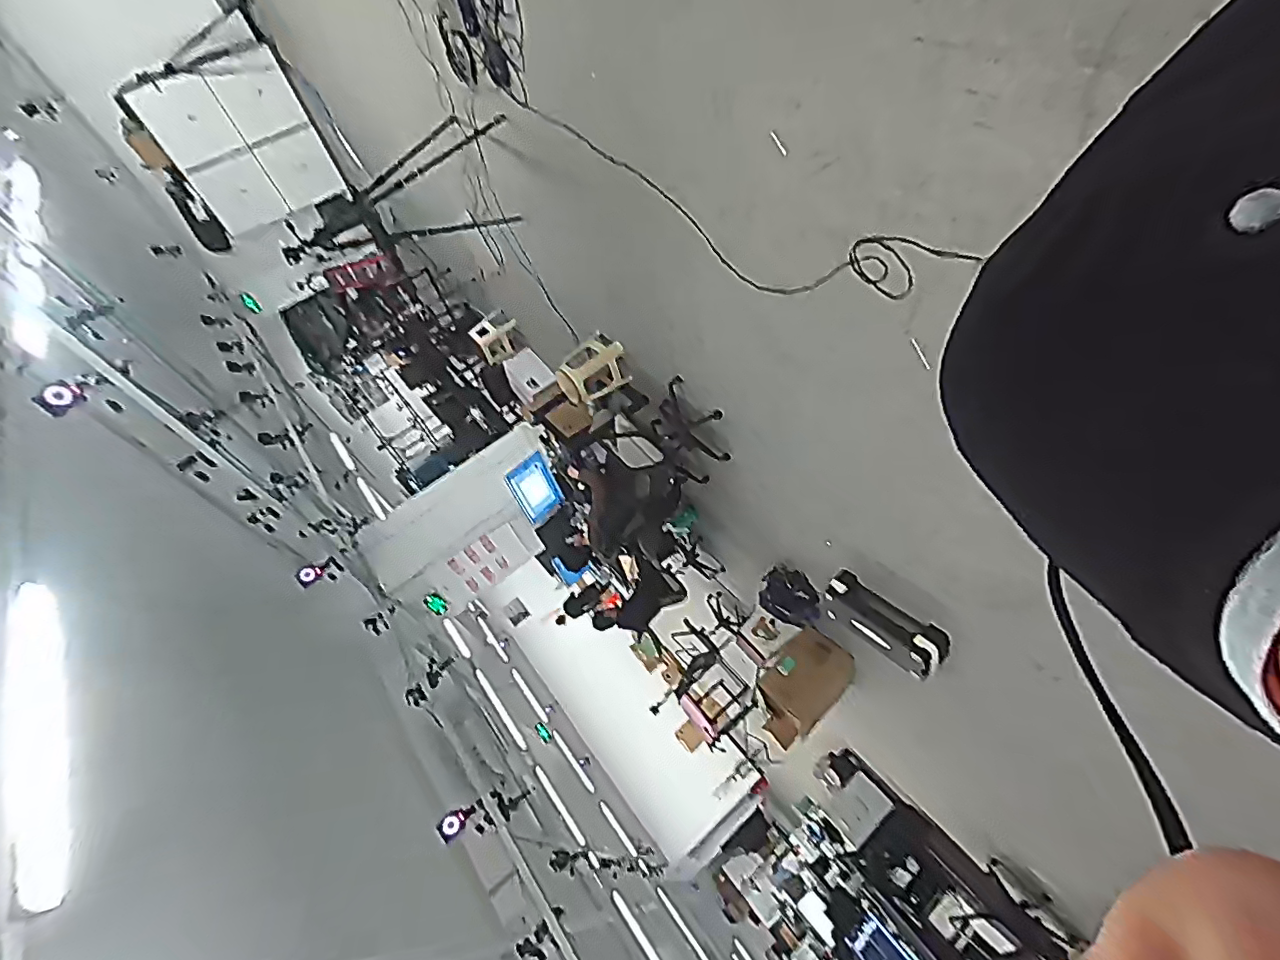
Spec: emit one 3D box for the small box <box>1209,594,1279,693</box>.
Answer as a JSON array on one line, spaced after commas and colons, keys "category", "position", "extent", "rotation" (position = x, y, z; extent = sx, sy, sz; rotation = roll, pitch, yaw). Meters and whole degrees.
[{"category": "small box", "position": [1.733, 0.439, 1.467], "extent": [0.168, 0.176, 0.179], "rotation": [43, 160, 29]}]
